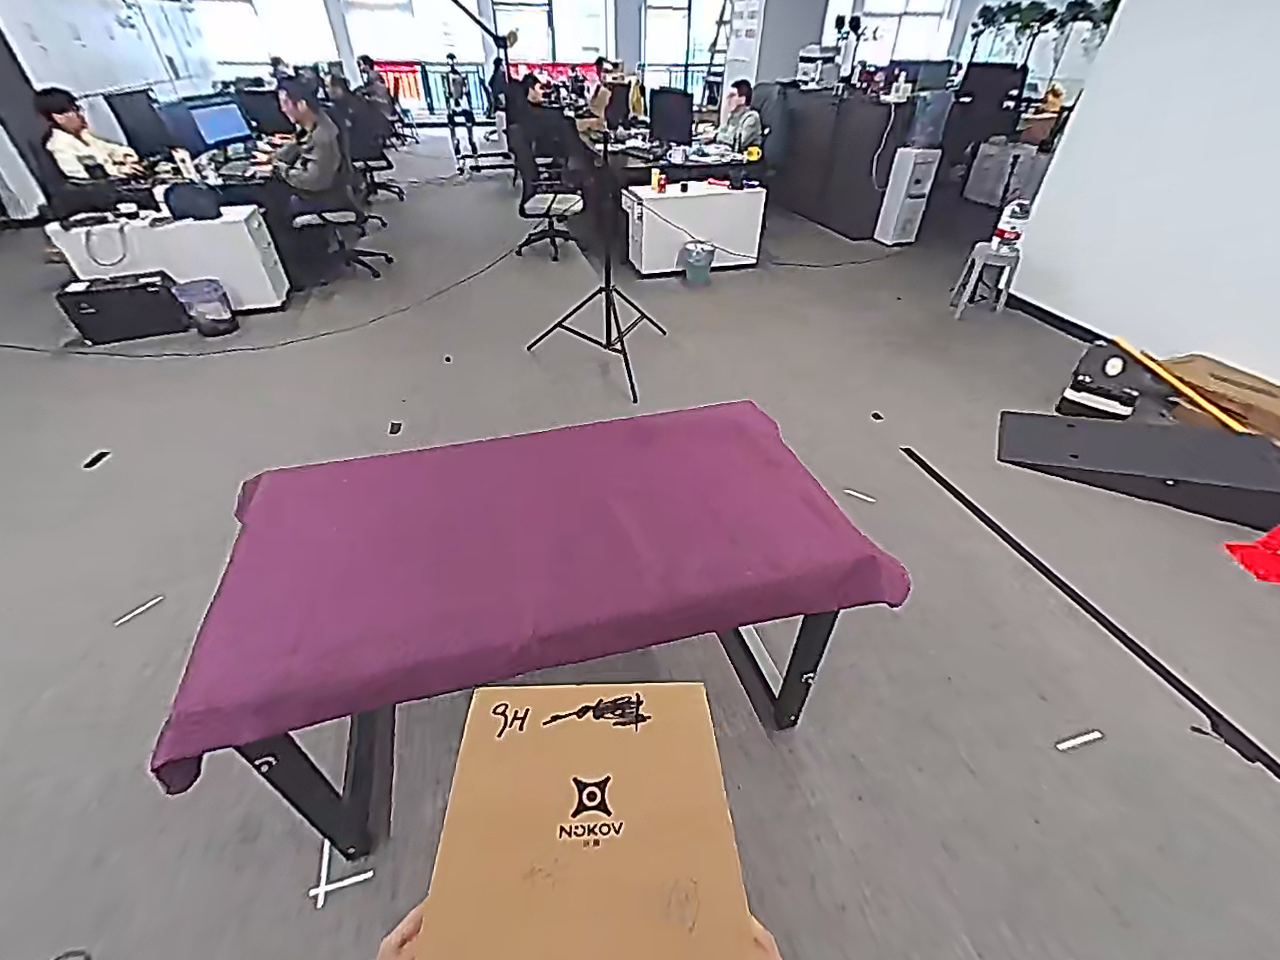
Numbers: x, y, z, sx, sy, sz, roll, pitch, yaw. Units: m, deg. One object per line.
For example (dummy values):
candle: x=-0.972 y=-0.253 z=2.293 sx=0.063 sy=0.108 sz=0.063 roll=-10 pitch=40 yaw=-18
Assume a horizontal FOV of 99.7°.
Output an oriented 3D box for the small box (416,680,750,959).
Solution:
small box: x=-0.034 y=0.261 z=0.362 sx=0.168 sy=0.176 sz=0.179 roll=1 pitch=33 yaw=-5
